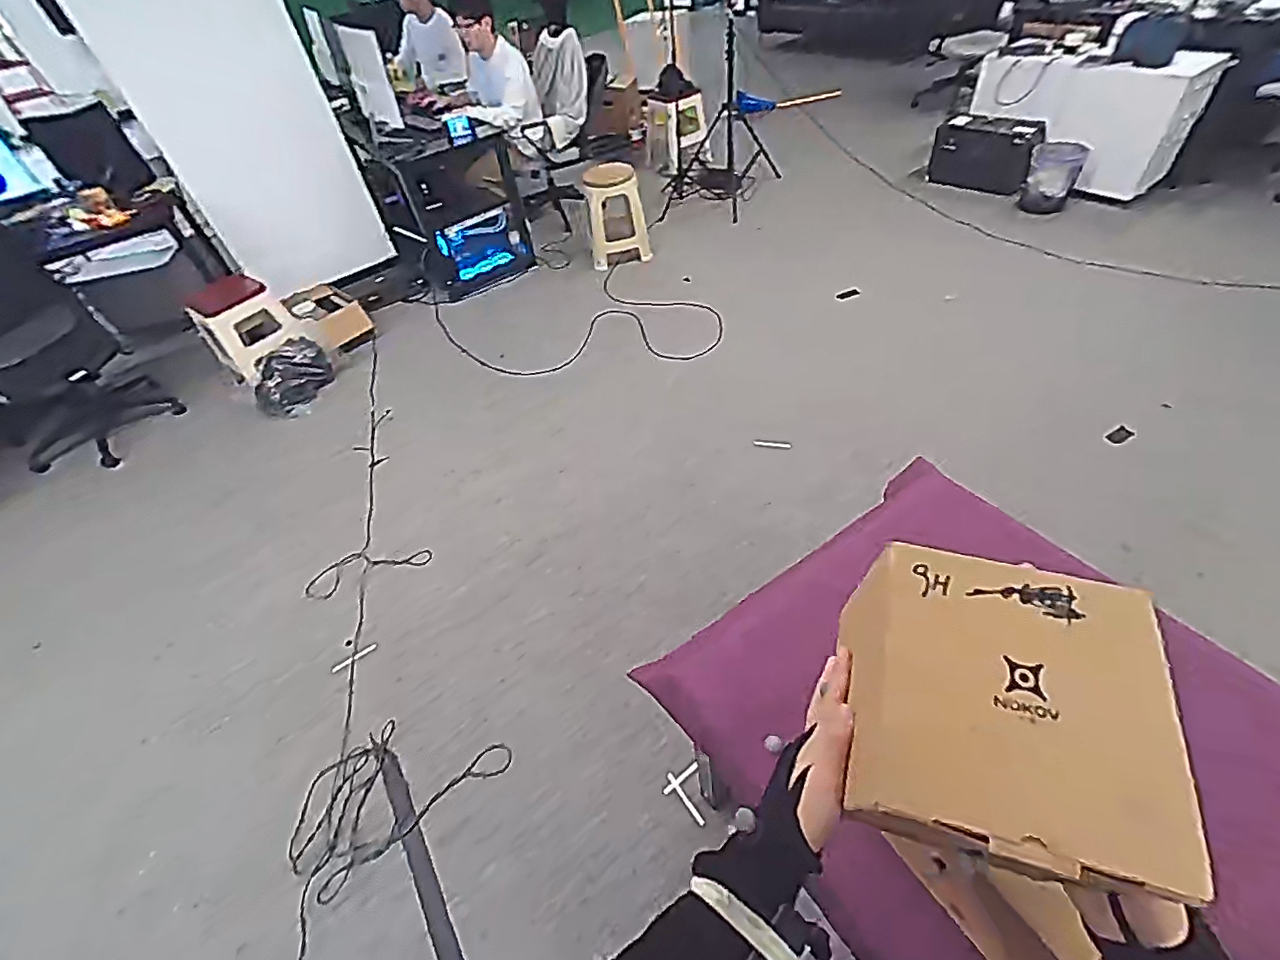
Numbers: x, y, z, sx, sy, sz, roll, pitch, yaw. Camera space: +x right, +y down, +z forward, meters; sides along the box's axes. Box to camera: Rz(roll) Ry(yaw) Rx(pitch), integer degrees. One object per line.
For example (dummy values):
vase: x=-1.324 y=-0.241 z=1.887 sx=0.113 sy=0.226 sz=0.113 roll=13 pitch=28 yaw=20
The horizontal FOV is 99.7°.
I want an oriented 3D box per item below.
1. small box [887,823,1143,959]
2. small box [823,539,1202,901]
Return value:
small box: x=0.382 y=0.360 z=0.562 sx=0.179 sy=0.176 sz=0.168 roll=-29 pitch=51 yaw=-18
small box: x=0.241 y=0.170 z=0.403 sx=0.168 sy=0.176 sz=0.179 roll=11 pitch=60 yaw=11
